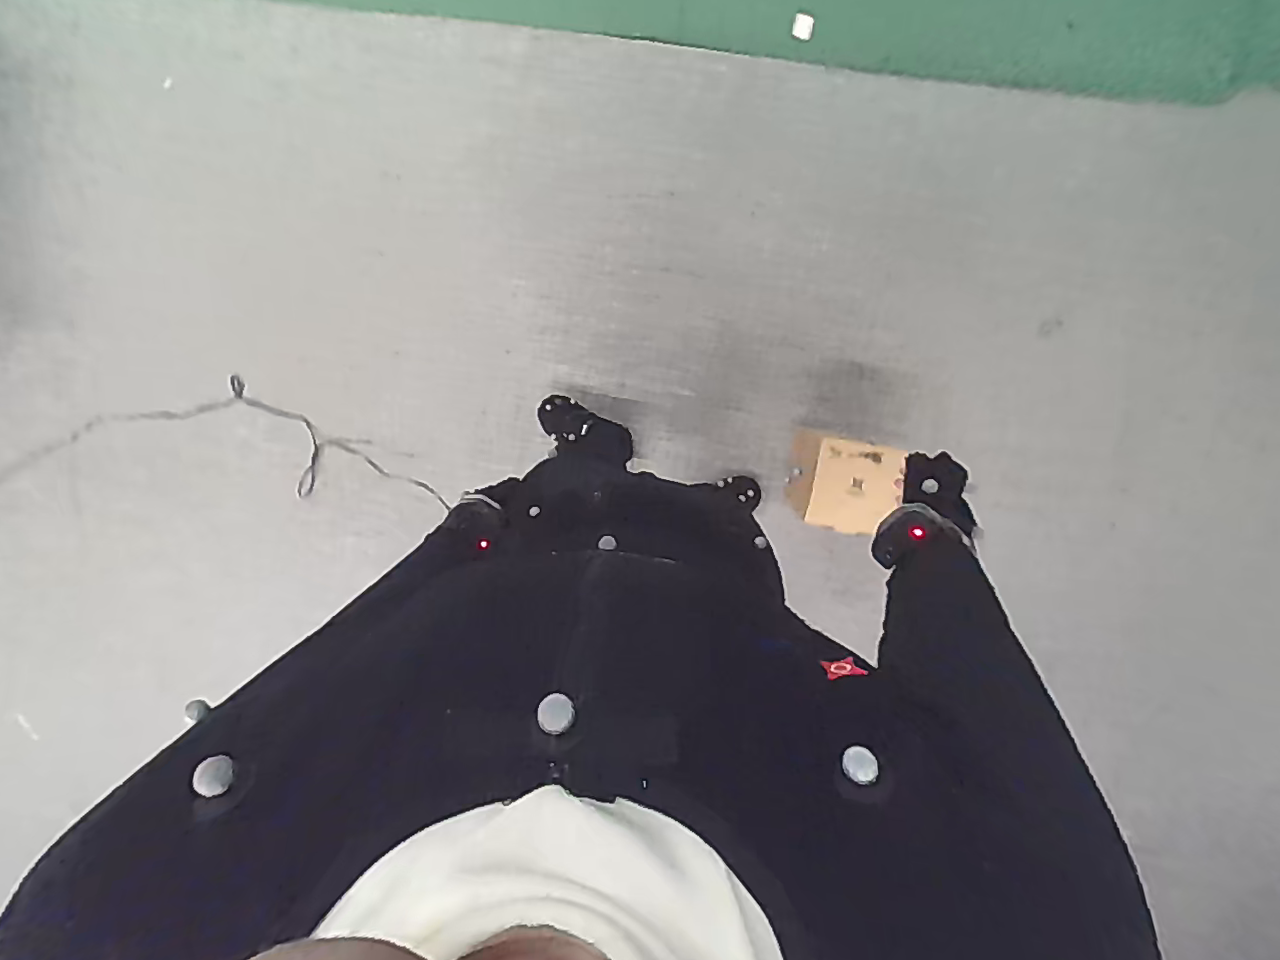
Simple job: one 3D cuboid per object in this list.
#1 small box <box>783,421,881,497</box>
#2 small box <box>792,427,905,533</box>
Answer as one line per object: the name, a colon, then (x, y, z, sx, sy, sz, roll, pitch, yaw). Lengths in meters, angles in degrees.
small box: (0.449, -0.039, 1.294, 0.168, 0.176, 0.179, 11, 99, 4)
small box: (0.425, -0.008, 1.135, 0.168, 0.176, 0.179, 11, 101, 5)
